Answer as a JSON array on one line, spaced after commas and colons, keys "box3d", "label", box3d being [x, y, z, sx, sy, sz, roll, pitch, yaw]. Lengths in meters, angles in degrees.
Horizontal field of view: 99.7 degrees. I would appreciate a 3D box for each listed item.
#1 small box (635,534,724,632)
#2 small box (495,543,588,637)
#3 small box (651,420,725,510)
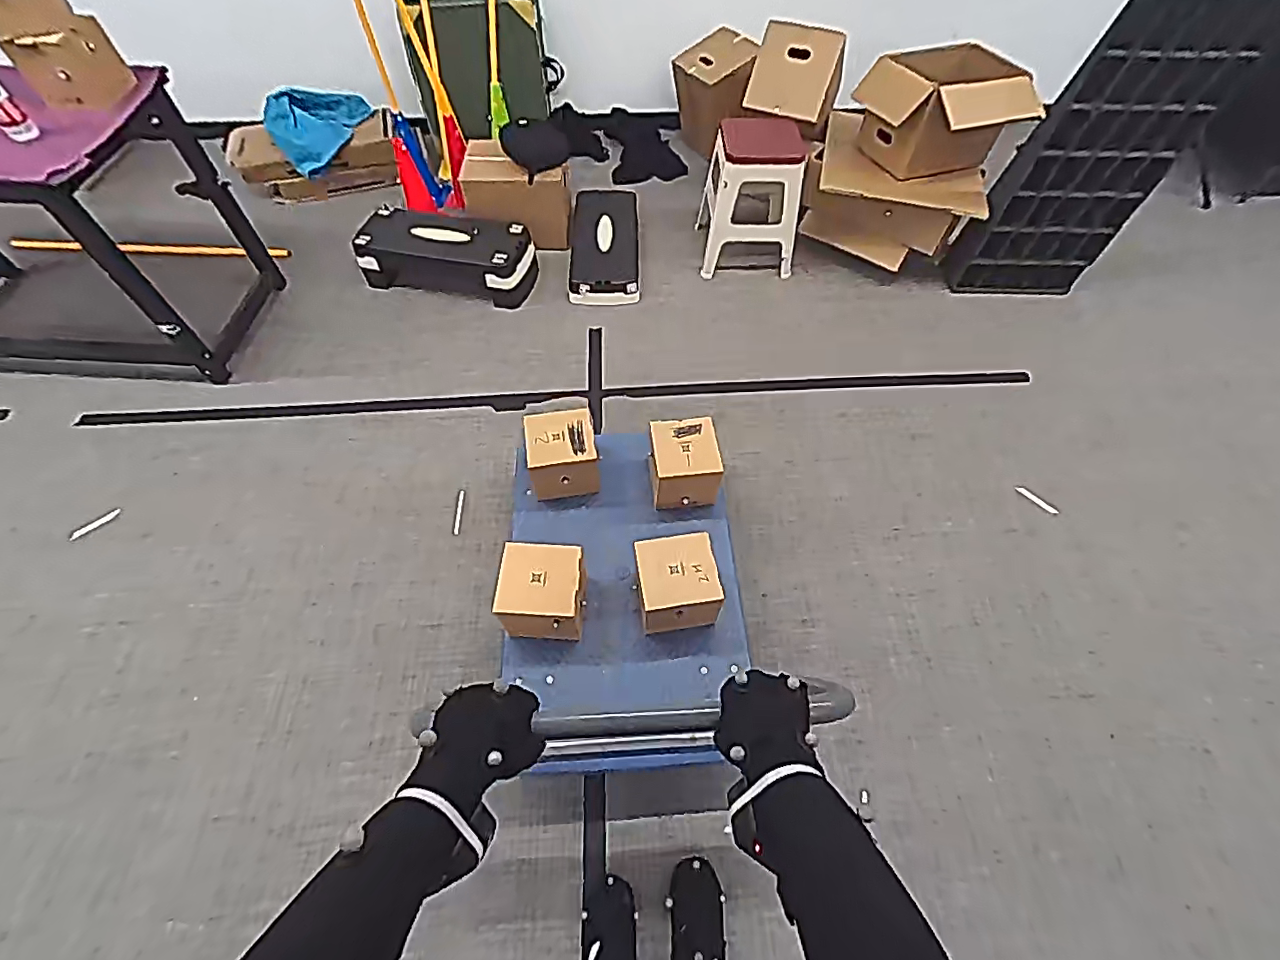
[{"box3d": [0.086, 0.245, 1.267, 0.179, 0.176, 0.168, -7, 58, -5], "label": "small box"}, {"box3d": [-0.219, 0.259, 1.254, 0.179, 0.176, 0.168, 4, 58, 0], "label": "small box"}, {"box3d": [0.120, -0.039, 1.447, 0.168, 0.176, 0.179, -5, 59, -4], "label": "small box"}]
